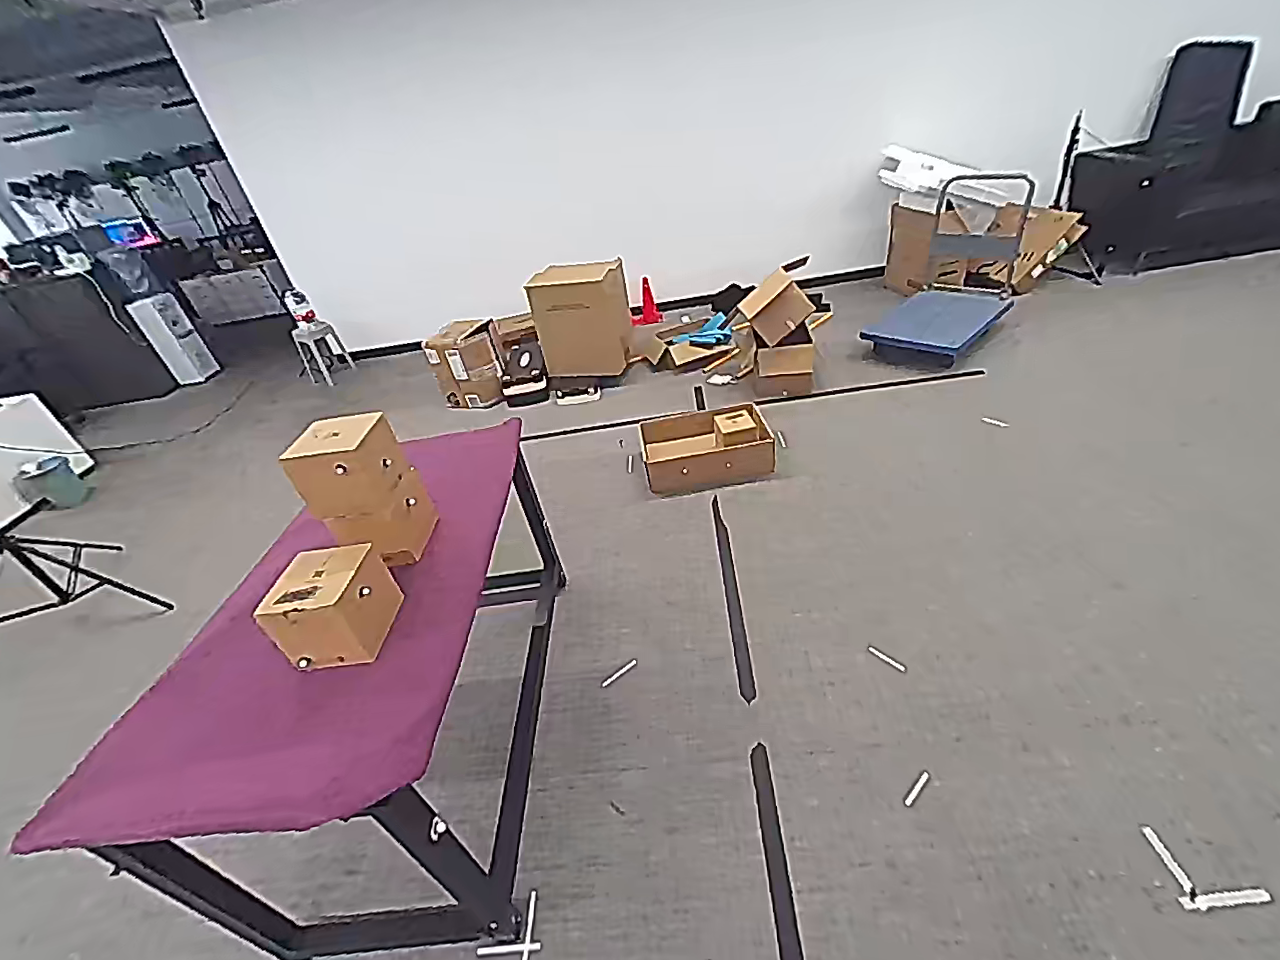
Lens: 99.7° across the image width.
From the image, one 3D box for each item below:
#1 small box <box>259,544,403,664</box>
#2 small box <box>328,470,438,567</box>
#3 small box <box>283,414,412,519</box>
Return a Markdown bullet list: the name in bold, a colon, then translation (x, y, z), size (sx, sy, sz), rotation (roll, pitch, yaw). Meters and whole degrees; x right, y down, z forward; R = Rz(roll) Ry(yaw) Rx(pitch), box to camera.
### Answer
- **small box**: translation (-0.616, 0.259, 1.110), size (0.168, 0.176, 0.179), rotation (-7, 34, 5)
- **small box**: translation (-0.625, 0.099, 1.346), size (0.168, 0.176, 0.179), rotation (-7, 35, 5)
- **small box**: translation (-0.660, -0.030, 1.248), size (0.179, 0.176, 0.168), rotation (-8, 35, 6)
